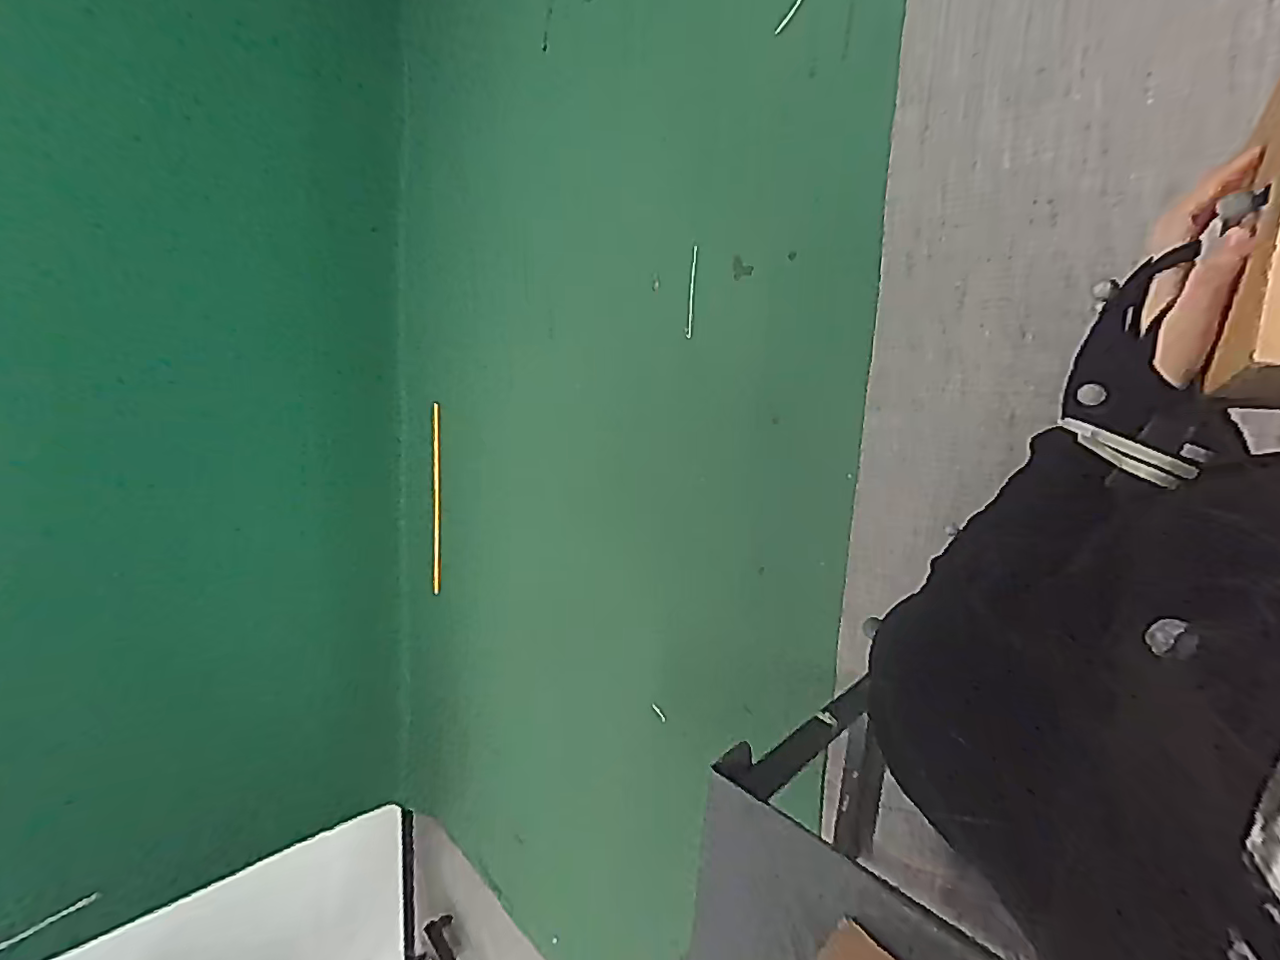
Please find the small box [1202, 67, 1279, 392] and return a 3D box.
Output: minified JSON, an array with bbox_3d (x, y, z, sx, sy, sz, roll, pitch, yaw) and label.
[{"bbox_3d":[0.431,-0.139,0.281,0.168,0.176,0.179,10,94,39],"label":"small box"}]
